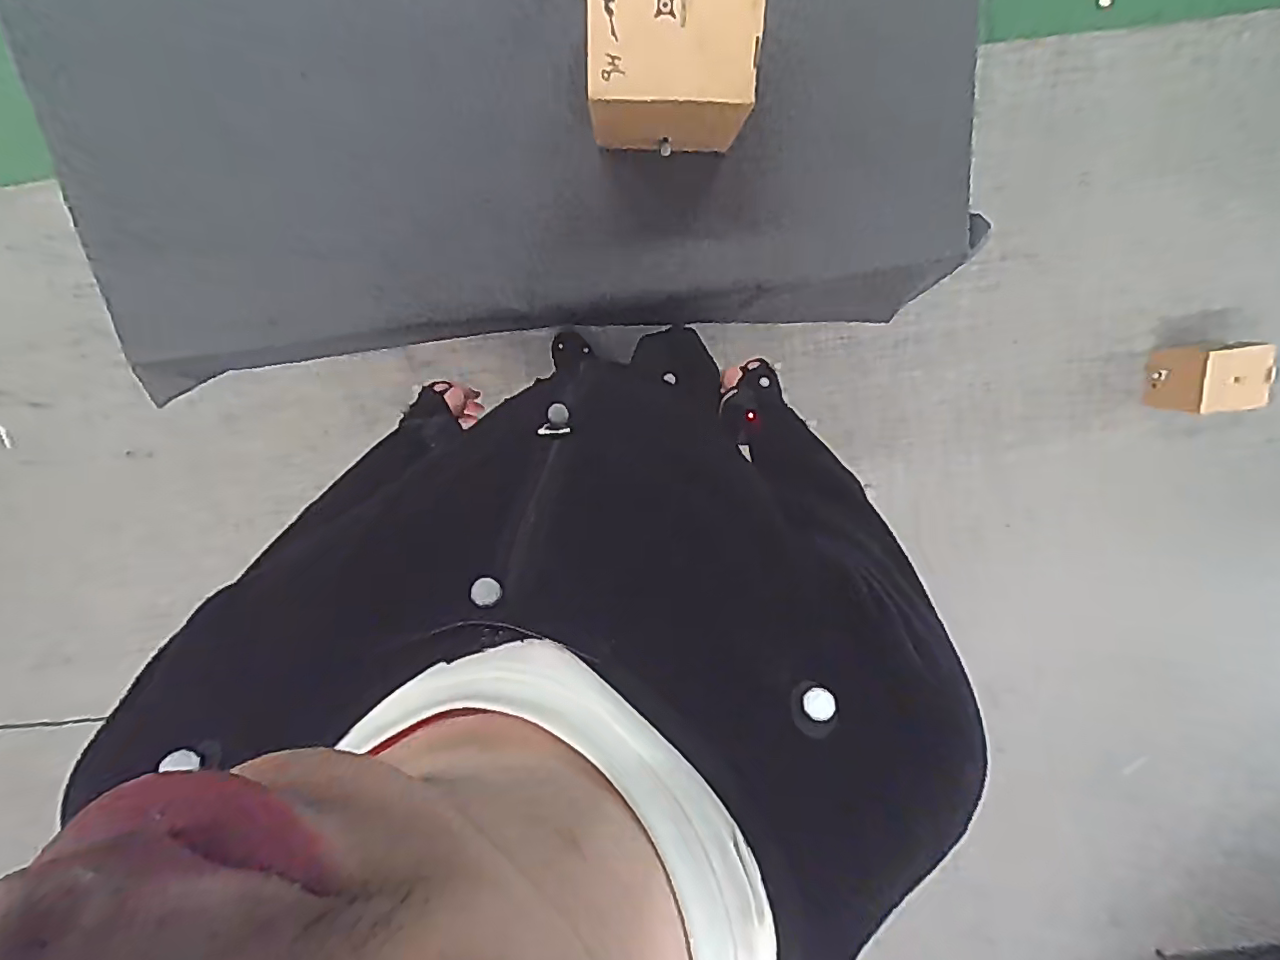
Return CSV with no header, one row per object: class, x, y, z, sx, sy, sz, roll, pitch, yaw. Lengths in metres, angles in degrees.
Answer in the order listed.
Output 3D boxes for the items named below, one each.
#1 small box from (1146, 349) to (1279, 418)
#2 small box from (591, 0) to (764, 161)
small box,1.541,-0.265,1.461,0.179,0.176,0.168,-5,104,0
small box,0.034,-0.485,0.625,0.179,0.176,0.168,1,106,-2
